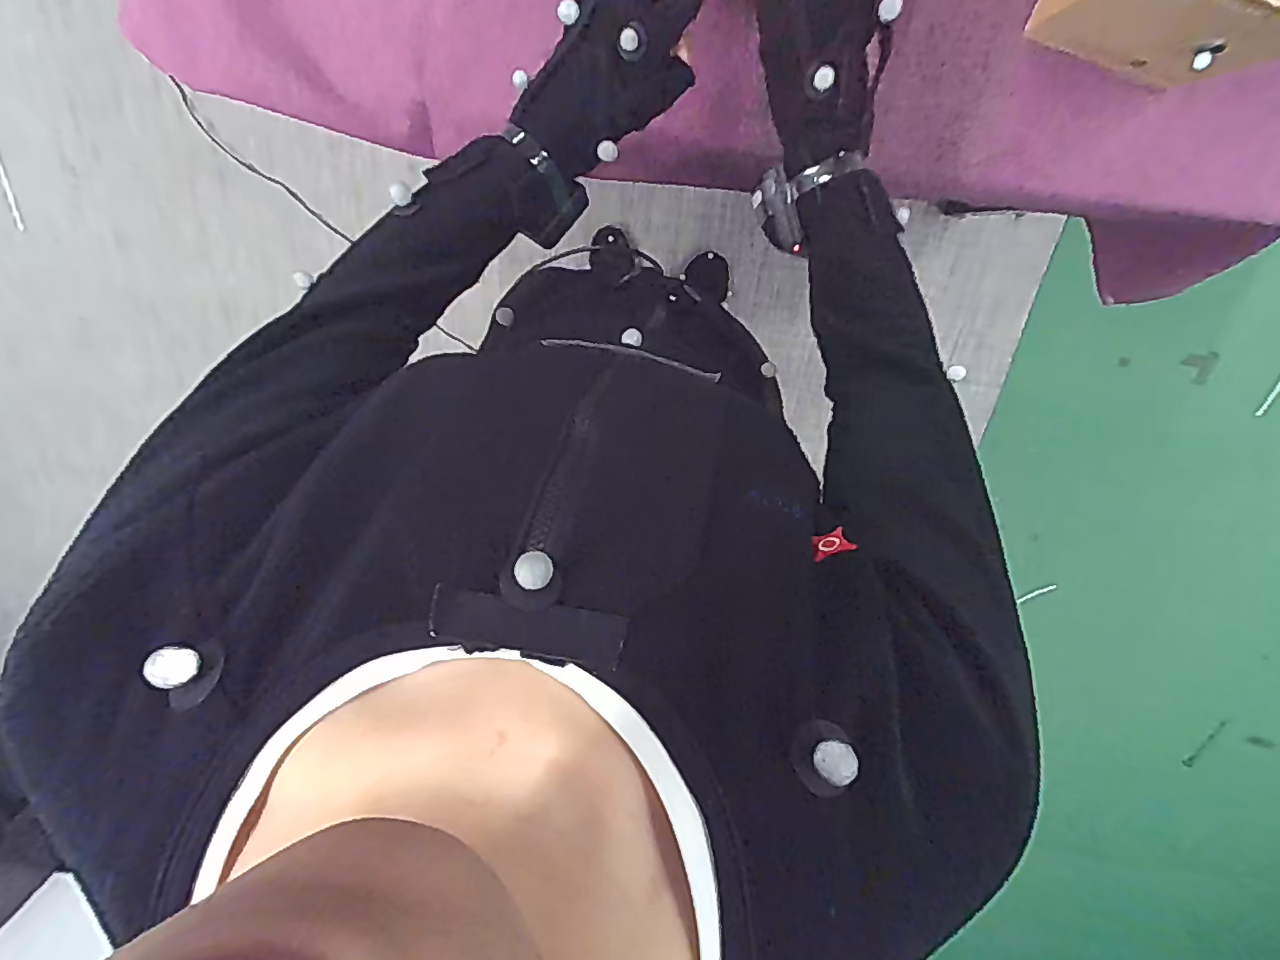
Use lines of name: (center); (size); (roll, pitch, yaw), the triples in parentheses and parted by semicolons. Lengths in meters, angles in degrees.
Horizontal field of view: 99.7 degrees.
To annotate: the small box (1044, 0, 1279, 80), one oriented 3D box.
small box: (0.465, -0.447, 0.416); (0.168, 0.176, 0.179); (17, 114, -4)
